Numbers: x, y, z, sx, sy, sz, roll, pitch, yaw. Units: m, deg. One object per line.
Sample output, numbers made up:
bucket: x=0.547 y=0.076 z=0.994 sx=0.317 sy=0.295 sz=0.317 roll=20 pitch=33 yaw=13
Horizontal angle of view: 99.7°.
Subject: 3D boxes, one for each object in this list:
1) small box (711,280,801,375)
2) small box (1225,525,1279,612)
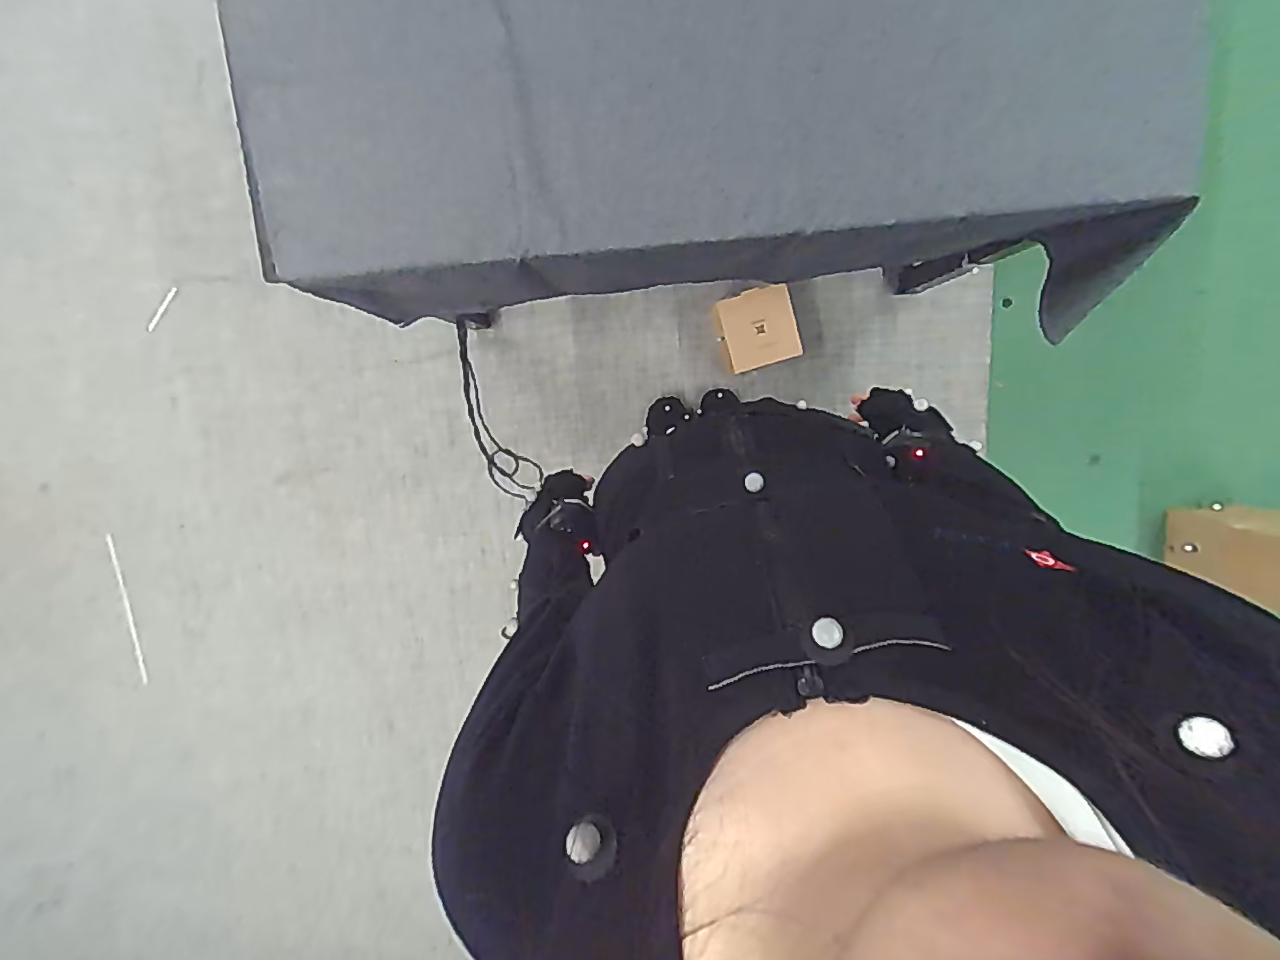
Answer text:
small box: x=0.278 y=-0.367 z=1.332 sx=0.168 sy=0.176 sz=0.179 roll=-15 pitch=97 yaw=5
small box: x=1.469 y=0.198 z=1.201 sx=0.168 sy=0.176 sz=0.179 roll=-6 pitch=99 yaw=4
